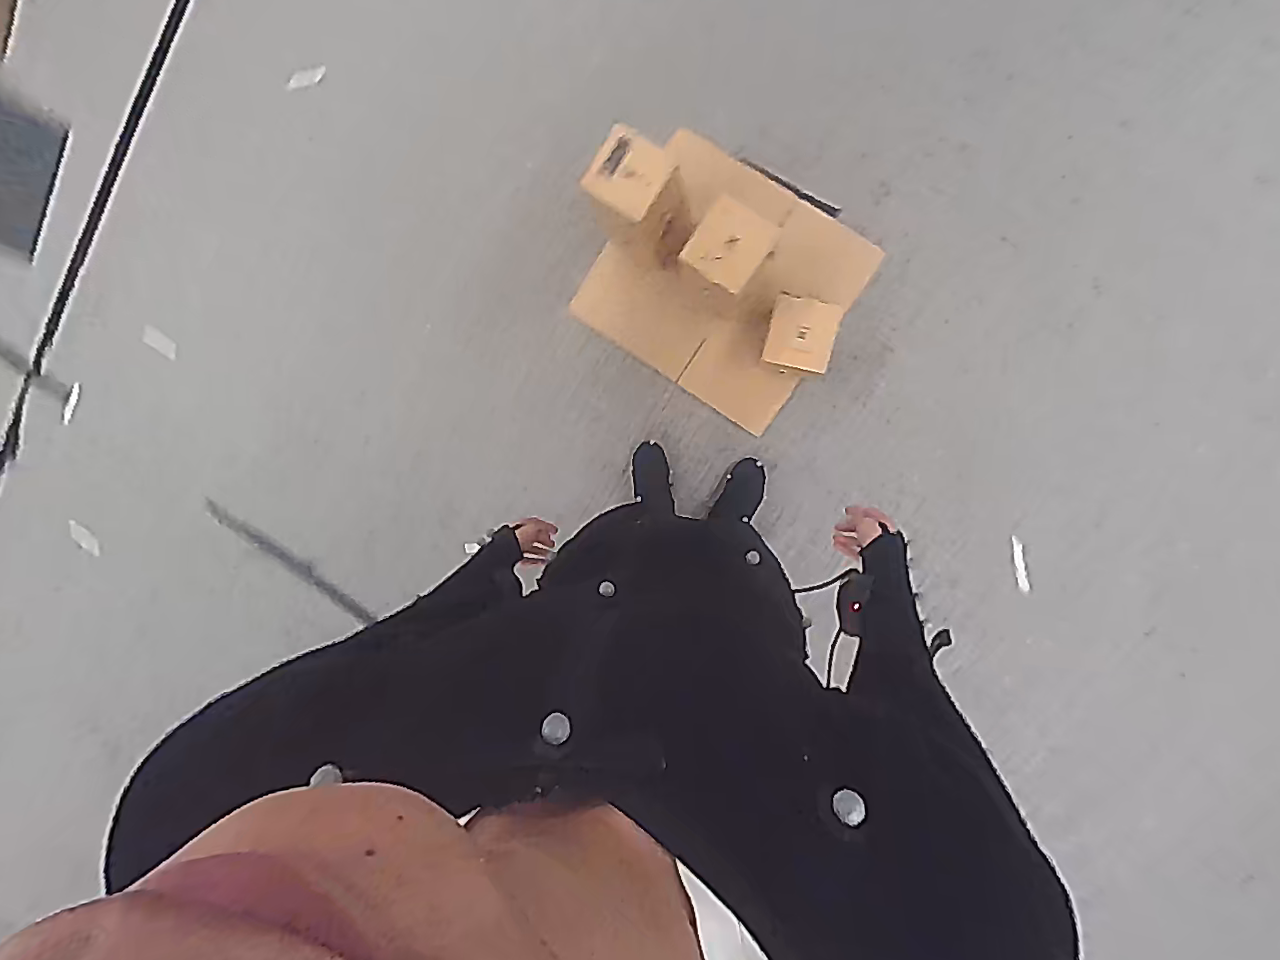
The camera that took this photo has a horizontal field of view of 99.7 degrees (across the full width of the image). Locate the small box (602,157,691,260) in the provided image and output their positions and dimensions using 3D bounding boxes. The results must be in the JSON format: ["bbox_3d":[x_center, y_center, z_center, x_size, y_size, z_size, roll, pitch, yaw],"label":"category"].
[{"bbox_3d":[0.026,-0.732,1.485,0.179,0.176,0.168,35,99,6],"label":"small box"}]

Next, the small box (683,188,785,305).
[{"bbox_3d":[0.221,-0.552,1.304,0.168,0.176,0.179,37,100,4],"label":"small box"}]

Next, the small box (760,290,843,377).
[{"bbox_3d":[0.426,-0.387,1.454,0.168,0.176,0.179,15,97,8],"label":"small box"}]
